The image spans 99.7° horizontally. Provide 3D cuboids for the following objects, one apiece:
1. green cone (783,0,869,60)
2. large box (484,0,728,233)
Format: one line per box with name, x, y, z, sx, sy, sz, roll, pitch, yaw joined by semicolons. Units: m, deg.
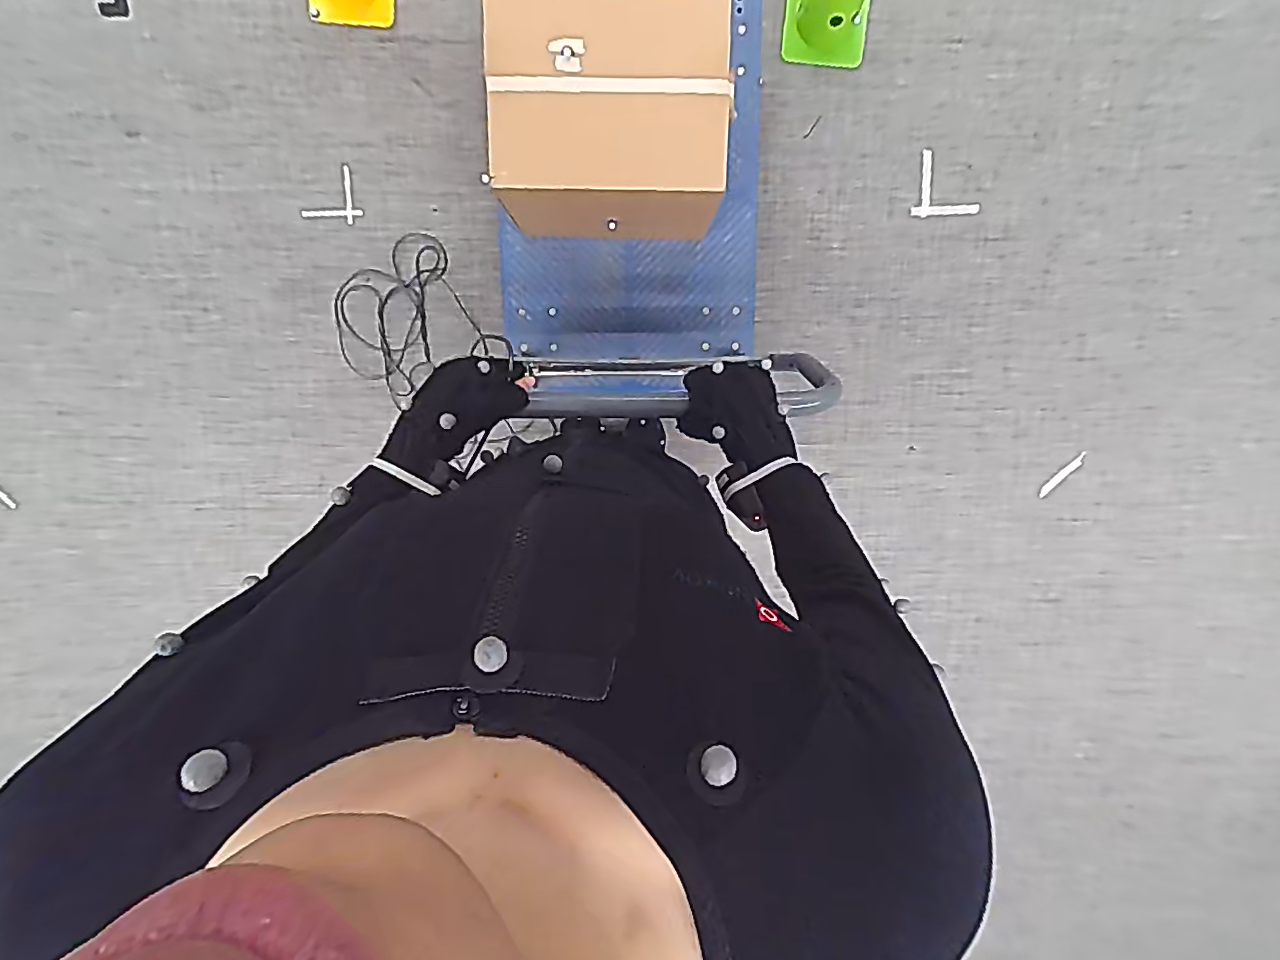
green cone;0.454;-1.100;1.129;0.202;0.368;0.200;4;99;-3
large box;-0.053;-0.678;1.044;0.408;0.320;0.320;1;99;0
